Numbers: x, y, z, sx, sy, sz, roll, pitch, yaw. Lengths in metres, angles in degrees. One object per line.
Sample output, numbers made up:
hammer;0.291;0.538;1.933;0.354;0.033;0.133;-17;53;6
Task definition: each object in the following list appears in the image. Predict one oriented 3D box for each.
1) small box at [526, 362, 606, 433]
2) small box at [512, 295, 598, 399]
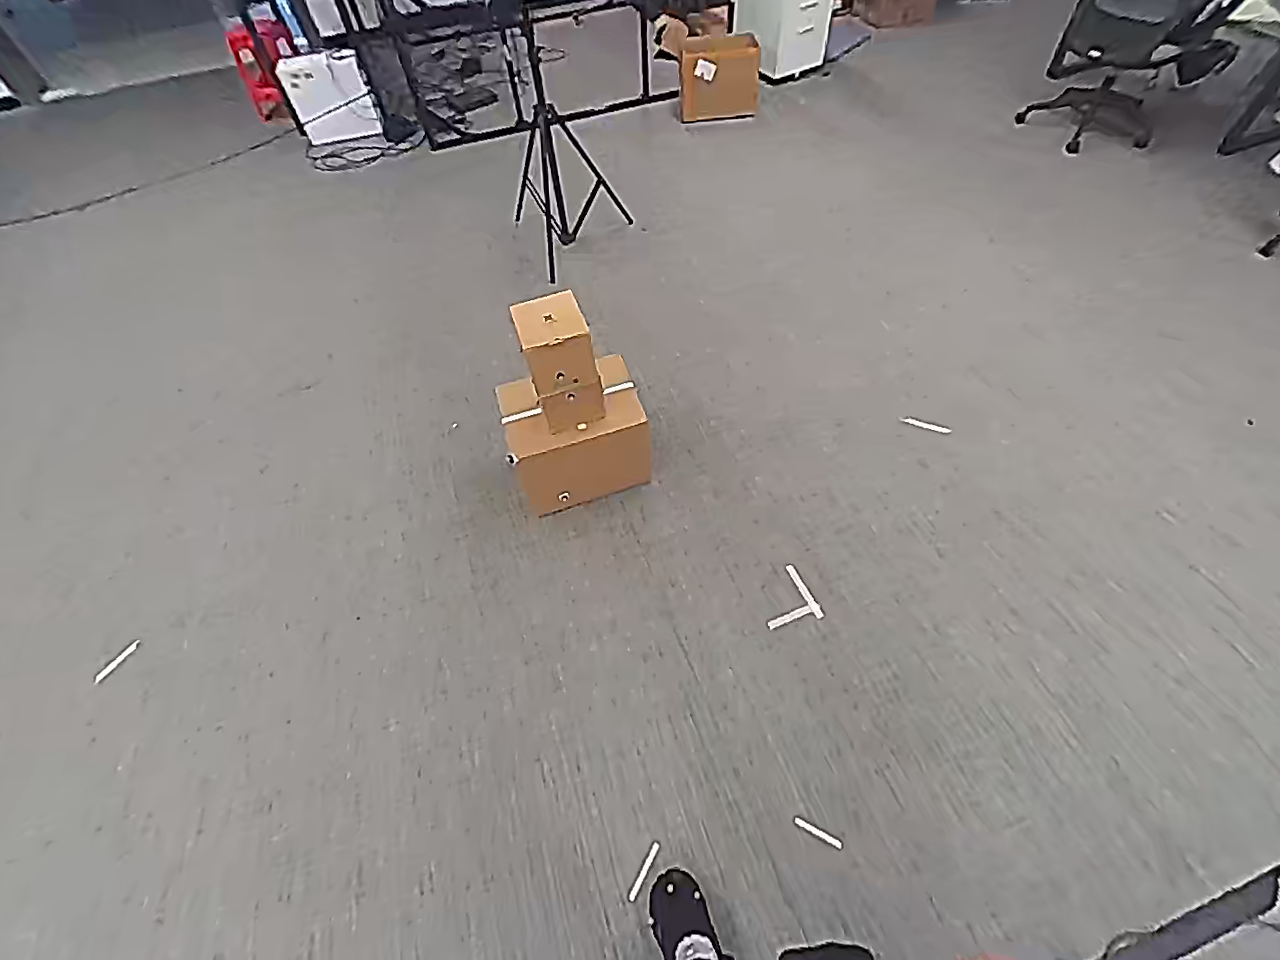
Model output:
small box;-0.206;-0.258;1.537;0.179;0.176;0.168;-19;57;-10
small box;-0.217;-0.342;1.398;0.168;0.176;0.179;-19;57;-8
